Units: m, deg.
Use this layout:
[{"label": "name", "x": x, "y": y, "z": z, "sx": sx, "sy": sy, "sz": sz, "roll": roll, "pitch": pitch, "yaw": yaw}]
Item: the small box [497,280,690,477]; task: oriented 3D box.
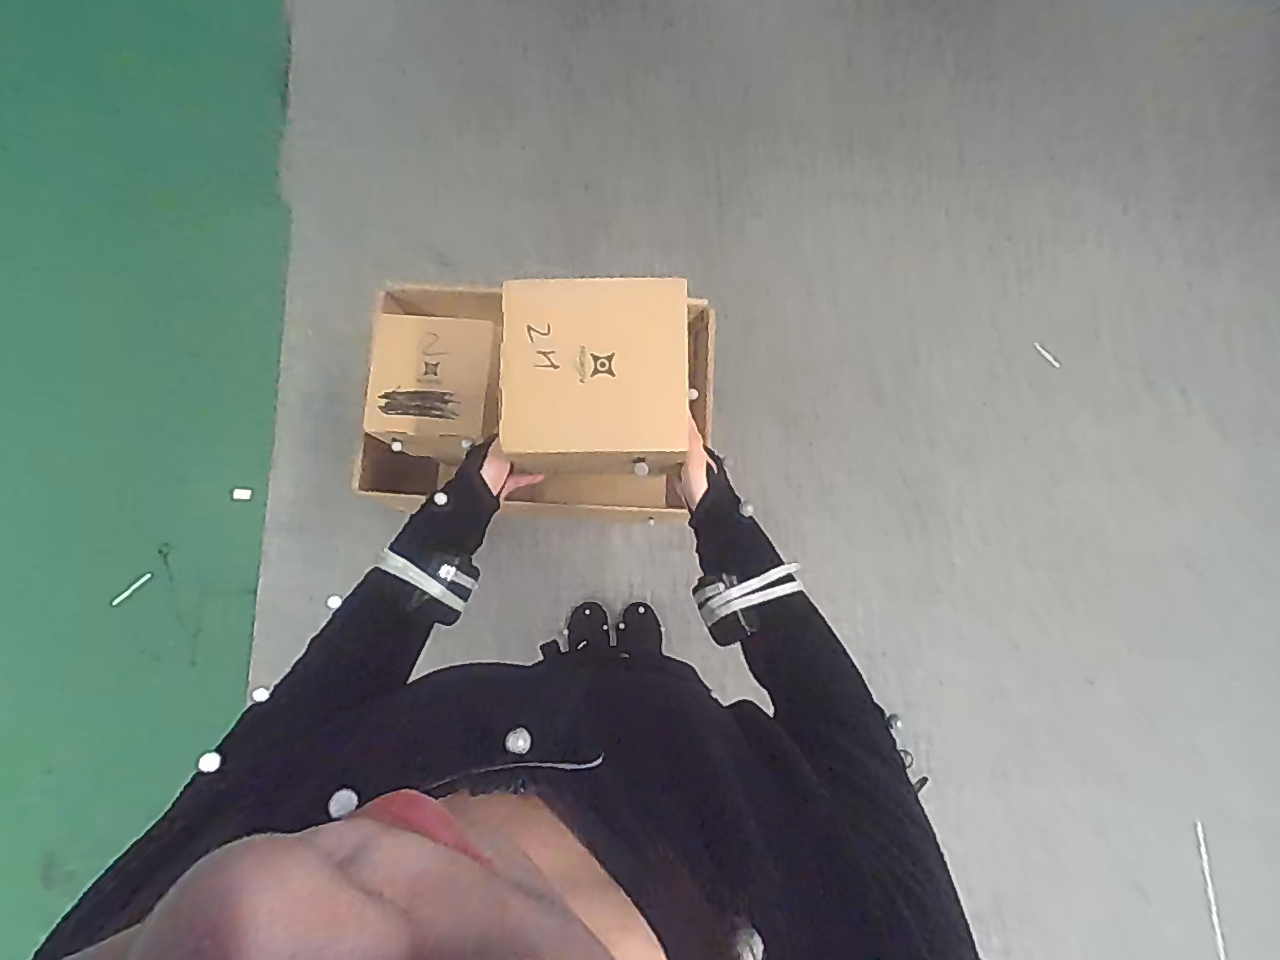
[{"label": "small box", "x": -0.040, "y": -0.096, "z": 0.575, "sx": 0.179, "sy": 0.176, "sz": 0.168, "roll": 0, "pitch": 83, "yaw": 2}]
